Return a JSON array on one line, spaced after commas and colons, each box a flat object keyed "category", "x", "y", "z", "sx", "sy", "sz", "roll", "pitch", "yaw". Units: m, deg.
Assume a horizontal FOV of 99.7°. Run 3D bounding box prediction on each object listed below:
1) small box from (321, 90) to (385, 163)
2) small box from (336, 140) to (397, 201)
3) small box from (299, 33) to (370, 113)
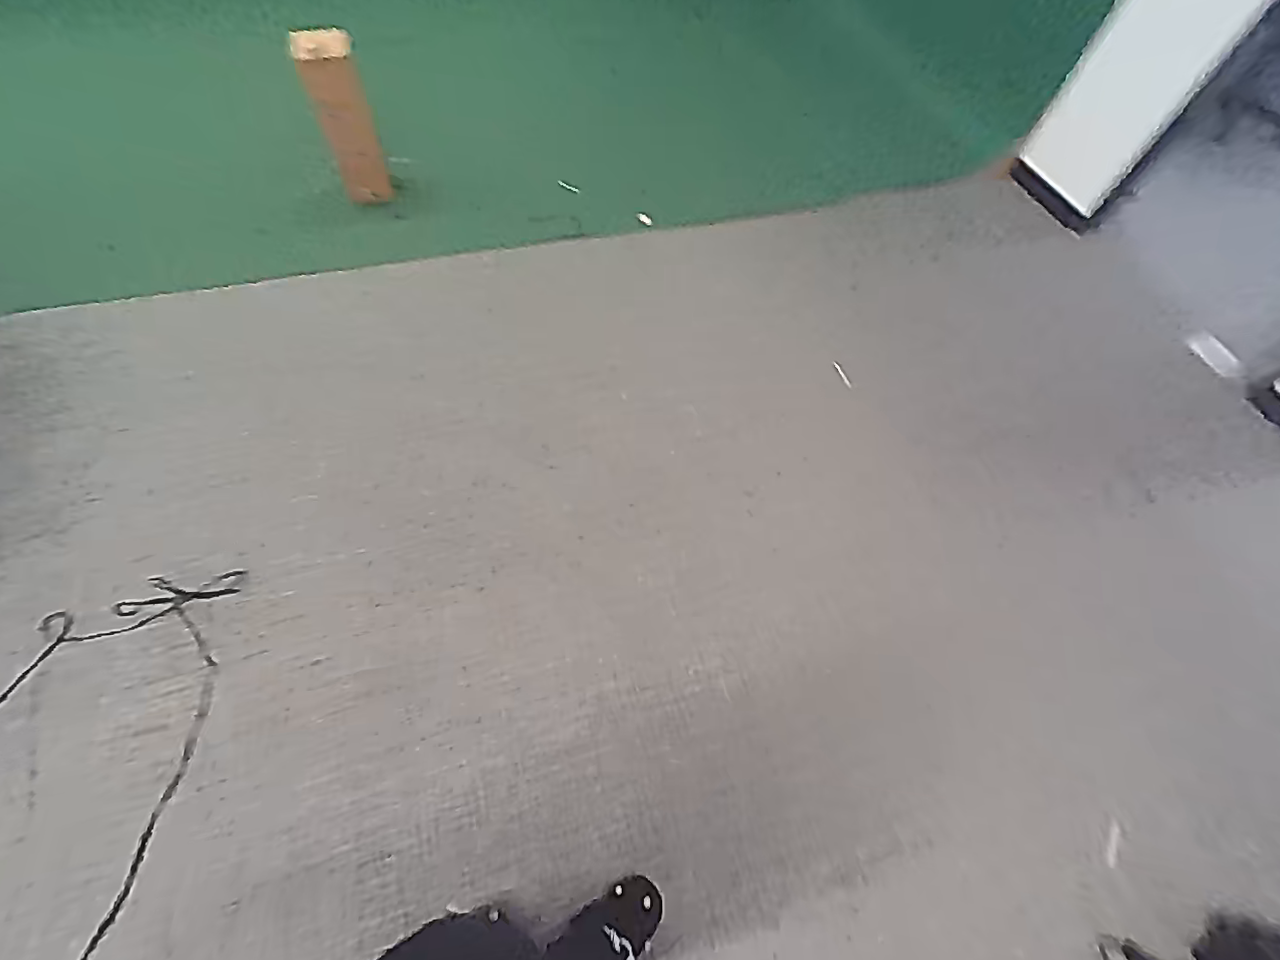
[{"category": "small box", "x": -1.053, "y": -1.301, "z": 1.990, "sx": 0.168, "sy": 0.176, "sz": 0.179, "roll": -12, "pitch": 61, "yaw": -11}, {"category": "small box", "x": -1.066, "y": -1.227, "z": 2.114, "sx": 0.168, "sy": 0.176, "sz": 0.179, "roll": -12, "pitch": 62, "yaw": -9}, {"category": "small box", "x": -1.041, "y": -1.385, "z": 1.849, "sx": 0.168, "sy": 0.176, "sz": 0.179, "roll": -14, "pitch": 61, "yaw": -12}]
